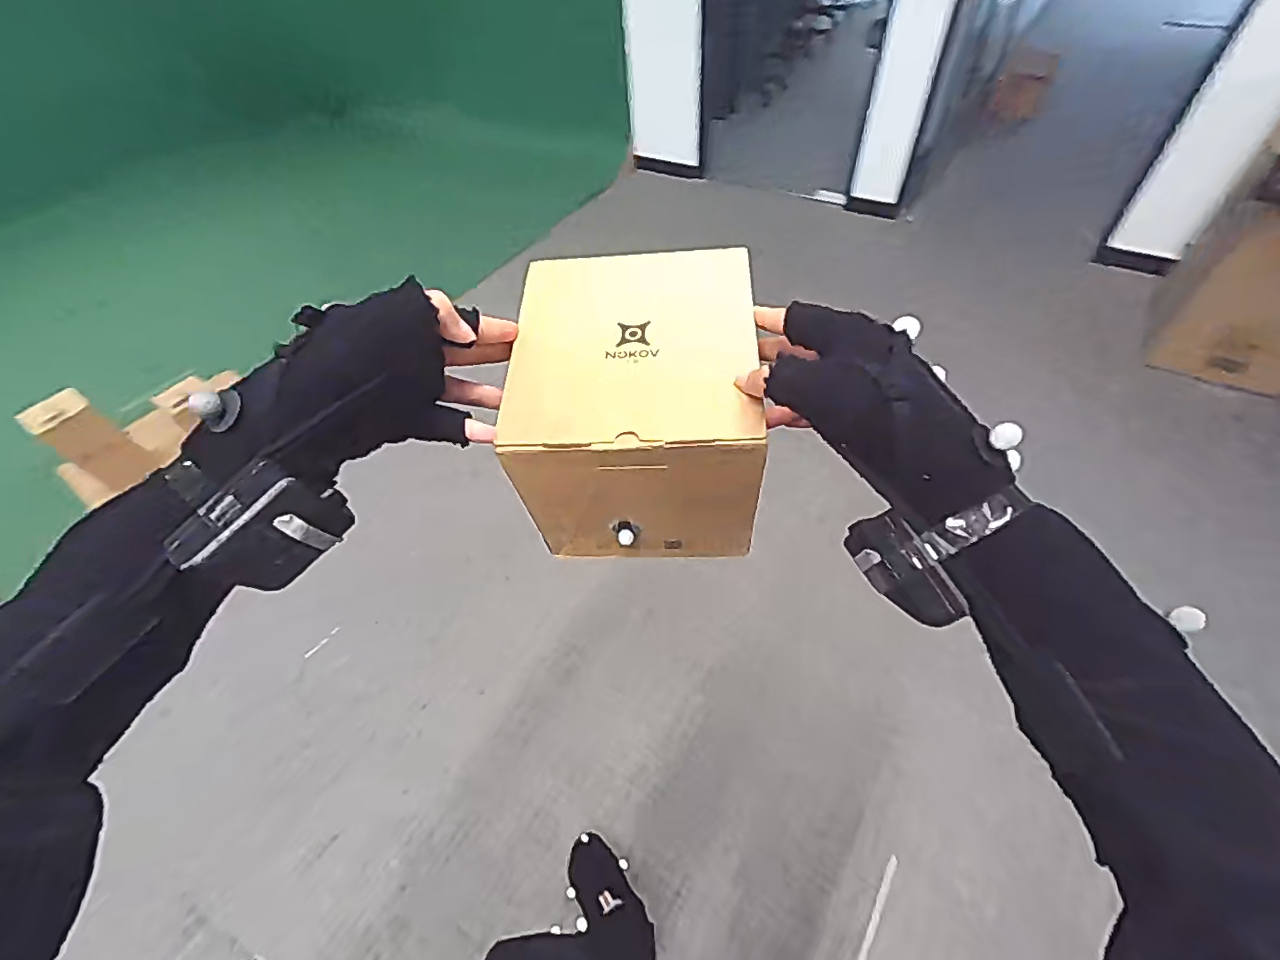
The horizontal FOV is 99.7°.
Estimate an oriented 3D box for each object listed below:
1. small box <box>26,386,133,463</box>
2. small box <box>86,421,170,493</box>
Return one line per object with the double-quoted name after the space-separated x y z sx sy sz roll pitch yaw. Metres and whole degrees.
-1.903 -0.183 1.845 0.179 0.176 0.168 28 59 26 "small box"
-1.889 -0.081 1.973 0.179 0.176 0.168 27 59 24 "small box"
